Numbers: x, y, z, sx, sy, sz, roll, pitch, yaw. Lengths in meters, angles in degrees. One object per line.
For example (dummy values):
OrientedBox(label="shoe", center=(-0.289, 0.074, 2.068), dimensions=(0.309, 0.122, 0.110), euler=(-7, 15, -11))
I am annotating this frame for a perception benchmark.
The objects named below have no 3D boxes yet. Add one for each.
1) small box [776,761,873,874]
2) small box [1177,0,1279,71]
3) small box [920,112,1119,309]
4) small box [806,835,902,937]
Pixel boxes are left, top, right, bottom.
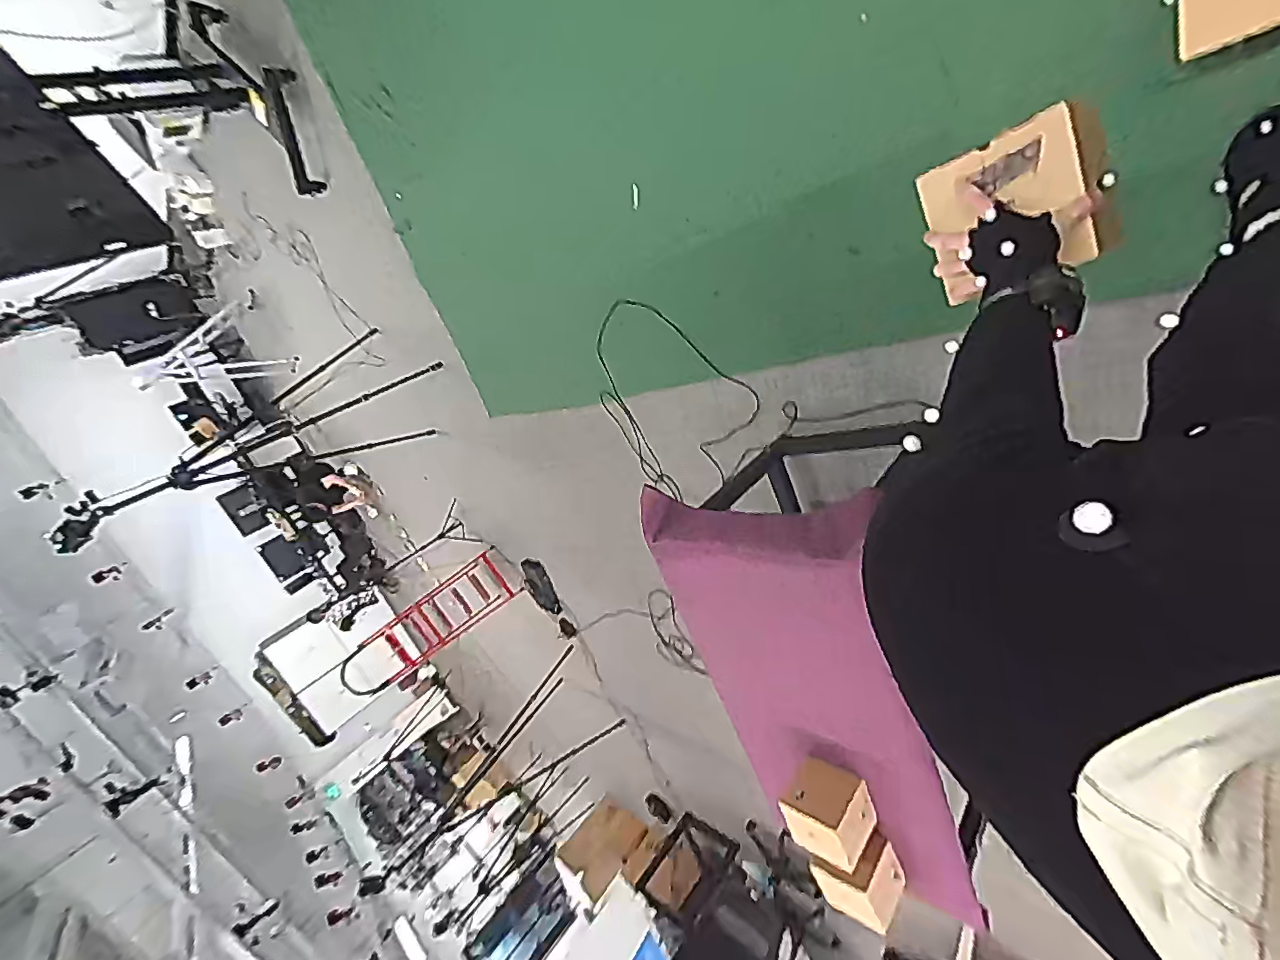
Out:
OrientedBox(label="small box", center=(0.508, 0.912, 1.482), dimensions=(0.179, 0.176, 0.168), euler=(0, 119, 48))
OrientedBox(label="small box", center=(0.946, -0.770, 0.826), dimensions=(0.168, 0.176, 0.179), euler=(1, 119, 49))
OrientedBox(label="small box", center=(0.507, -0.349, 0.720), dimensions=(0.168, 0.176, 0.179), euler=(-7, 106, 52))
OrientedBox(label="small box", center=(0.614, 1.129, 1.546), dimensions=(0.179, 0.176, 0.168), euler=(-8, 114, 51))
